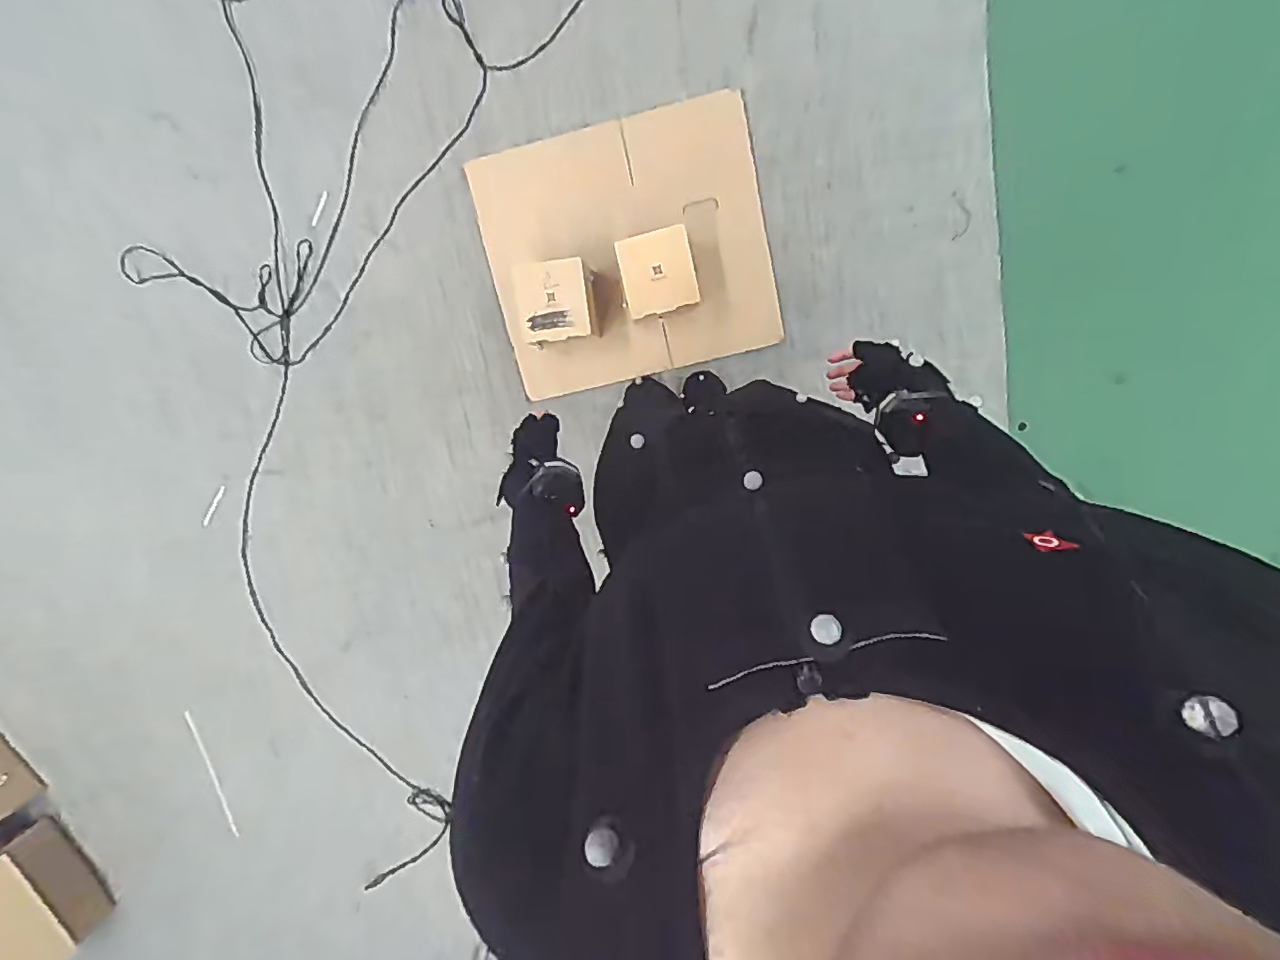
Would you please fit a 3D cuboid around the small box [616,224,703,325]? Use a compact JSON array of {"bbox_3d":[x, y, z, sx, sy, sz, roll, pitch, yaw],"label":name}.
[{"bbox_3d":[0.045,-0.483,1.296,0.168,0.176,0.179,-14,101,5],"label":"small box"}]
